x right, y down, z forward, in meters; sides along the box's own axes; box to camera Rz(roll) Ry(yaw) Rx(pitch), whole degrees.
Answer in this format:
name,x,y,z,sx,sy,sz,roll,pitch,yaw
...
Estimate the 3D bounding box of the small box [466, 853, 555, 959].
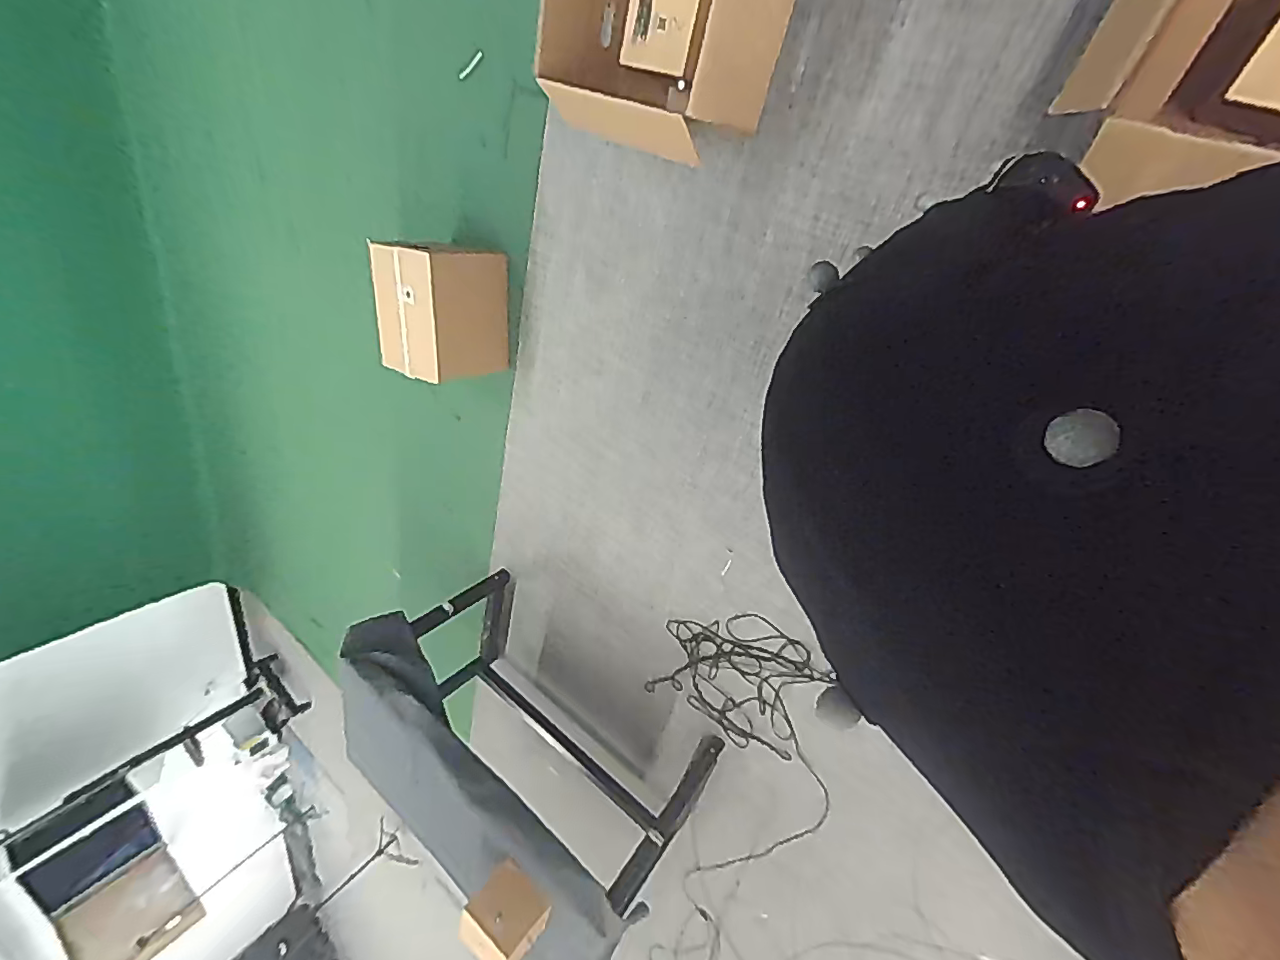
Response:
name,x,y,z,sx,sy,sz,roll,pitch,yaw
small box,-0.362,1.207,1.517,0.179,0.176,0.168,31,123,25
